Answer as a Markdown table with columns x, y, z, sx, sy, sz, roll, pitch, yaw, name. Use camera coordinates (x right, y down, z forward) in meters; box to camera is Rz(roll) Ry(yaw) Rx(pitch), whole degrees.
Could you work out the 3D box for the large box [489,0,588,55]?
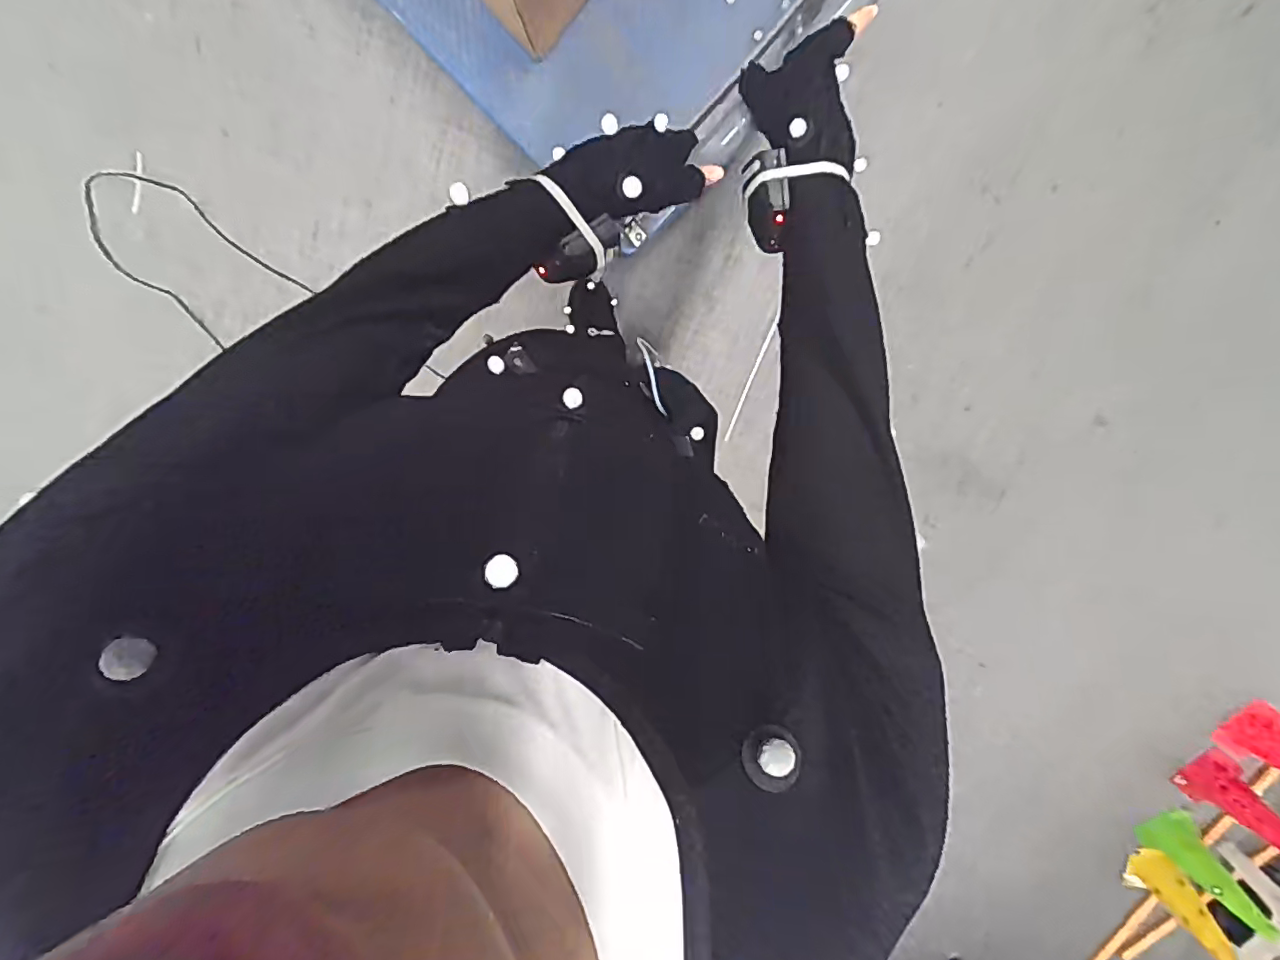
| x | y | z | sx | sy | sz | roll | pitch | yaw | name |
| --- | --- | --- | --- | --- | --- | --- | --- | --- | --- |
| -0.158 | -0.993 | 0.818 | 0.320 | 0.320 | 0.408 | 41 | 105 | -13 | large box |
